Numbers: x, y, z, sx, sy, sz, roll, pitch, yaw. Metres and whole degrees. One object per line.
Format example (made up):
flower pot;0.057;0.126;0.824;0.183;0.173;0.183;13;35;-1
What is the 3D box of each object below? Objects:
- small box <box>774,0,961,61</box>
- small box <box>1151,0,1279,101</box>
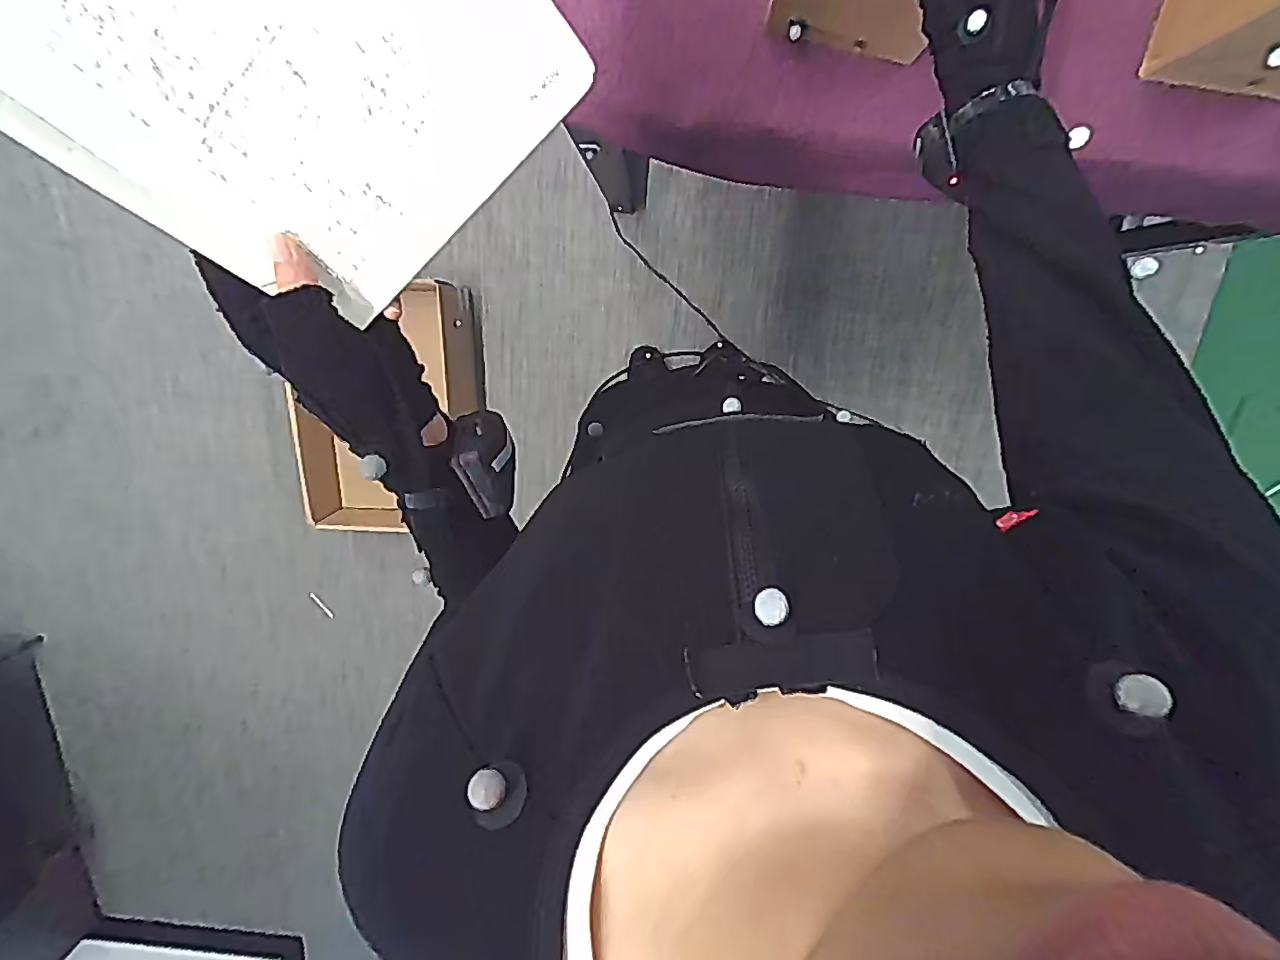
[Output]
small box;0.230;-0.524;0.486;0.168;0.176;0.179;14;106;-1
small box;0.623;-0.471;0.479;0.168;0.176;0.179;10;107;1
